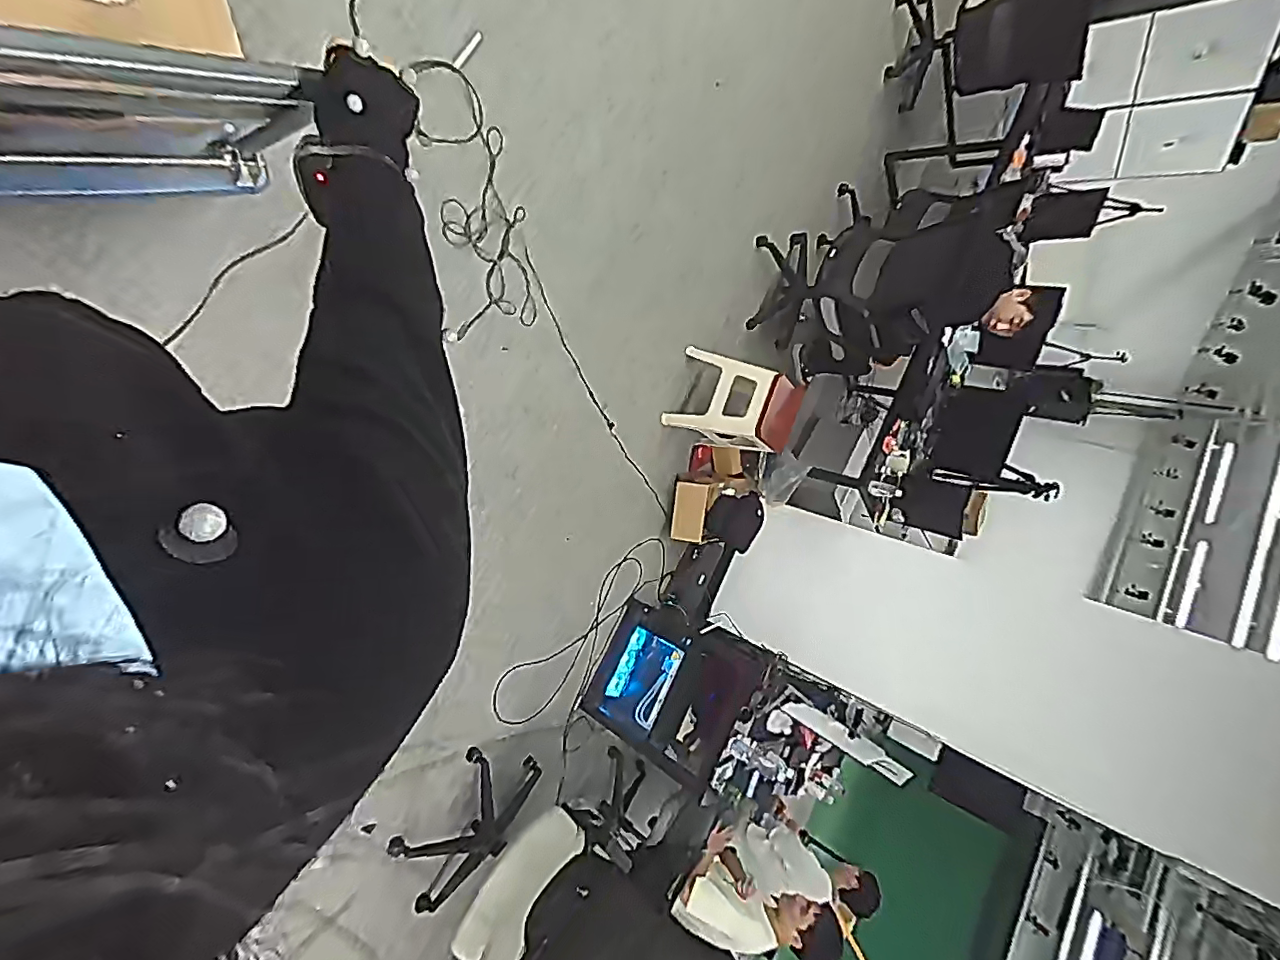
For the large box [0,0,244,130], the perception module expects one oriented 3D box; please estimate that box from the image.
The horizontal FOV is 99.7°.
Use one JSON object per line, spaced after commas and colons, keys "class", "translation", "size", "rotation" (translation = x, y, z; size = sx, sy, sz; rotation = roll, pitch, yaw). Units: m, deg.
{"class": "large box", "translation": [-0.817, -0.642, 0.666], "size": [0.408, 0.320, 0.320], "rotation": [-30, 128, -43]}
